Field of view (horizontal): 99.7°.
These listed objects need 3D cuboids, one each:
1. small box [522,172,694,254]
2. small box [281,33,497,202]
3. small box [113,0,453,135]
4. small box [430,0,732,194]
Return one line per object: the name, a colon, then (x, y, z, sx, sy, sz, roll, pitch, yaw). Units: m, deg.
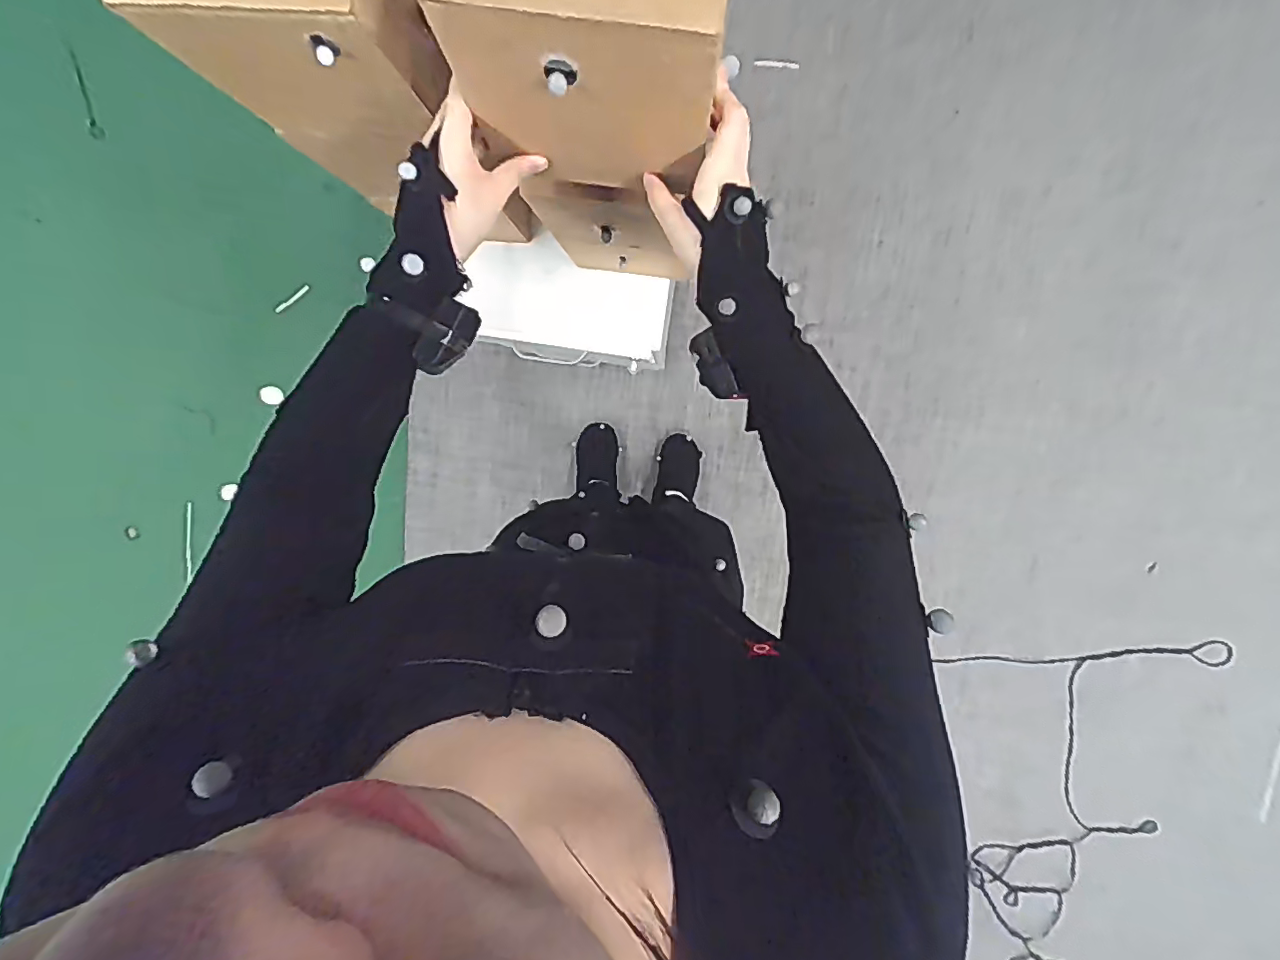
small box: (-0.020, -0.362, 0.592, 0.168, 0.176, 0.179, 8, 99, 2)
small box: (-0.260, -0.424, 0.597, 0.179, 0.176, 0.168, 2, 98, 2)
small box: (-0.266, -0.406, 0.435, 0.179, 0.176, 0.168, 3, 98, 0)
small box: (-0.024, -0.336, 0.393, 0.179, 0.176, 0.168, 8, 89, 1)
